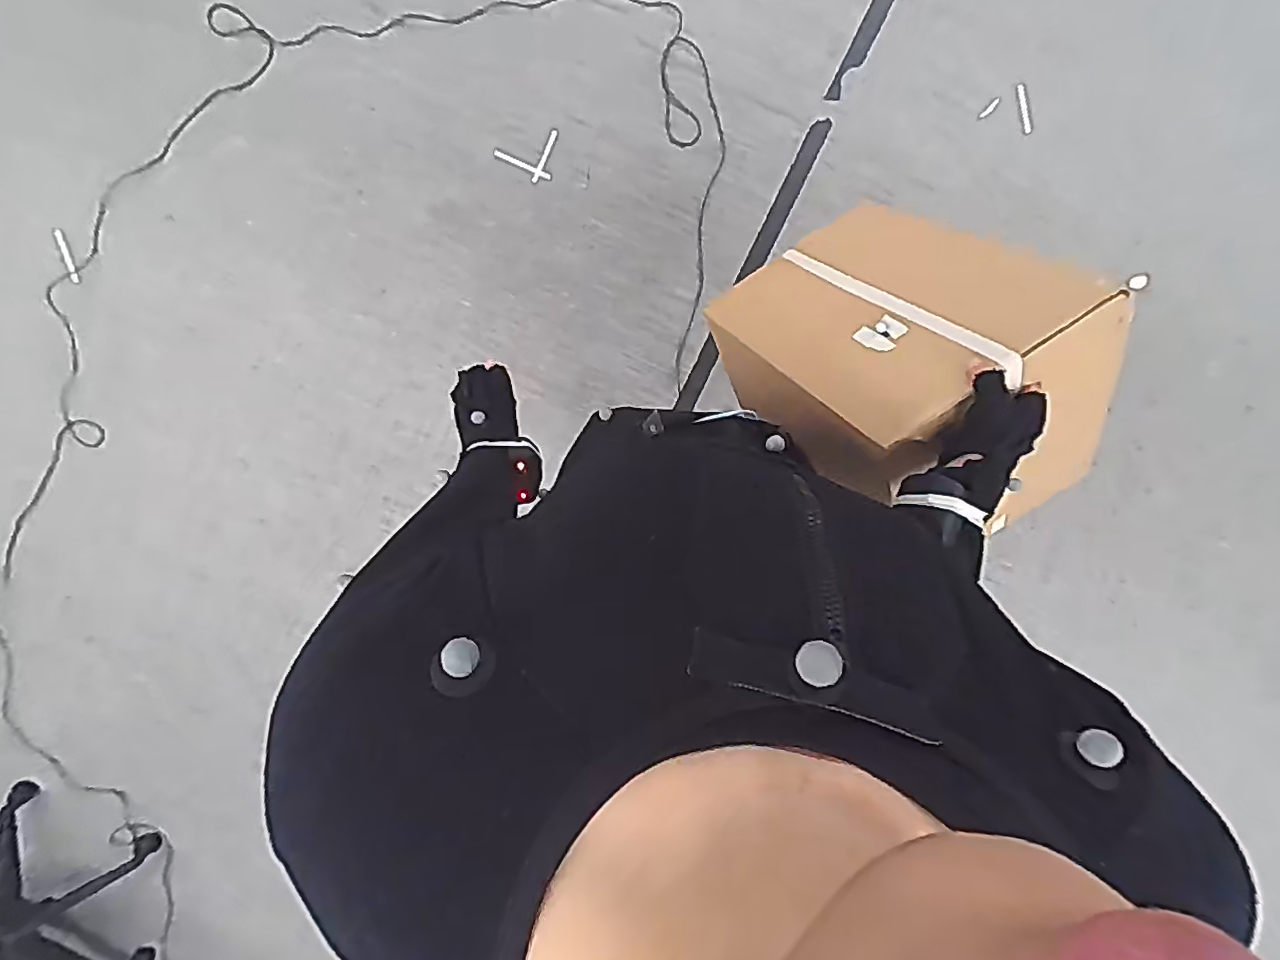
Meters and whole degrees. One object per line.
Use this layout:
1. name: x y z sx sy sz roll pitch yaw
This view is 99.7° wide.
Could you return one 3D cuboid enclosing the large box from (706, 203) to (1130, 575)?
1. large box: 0.360 -0.144 0.802 0.320 0.408 0.320 -34 135 0
